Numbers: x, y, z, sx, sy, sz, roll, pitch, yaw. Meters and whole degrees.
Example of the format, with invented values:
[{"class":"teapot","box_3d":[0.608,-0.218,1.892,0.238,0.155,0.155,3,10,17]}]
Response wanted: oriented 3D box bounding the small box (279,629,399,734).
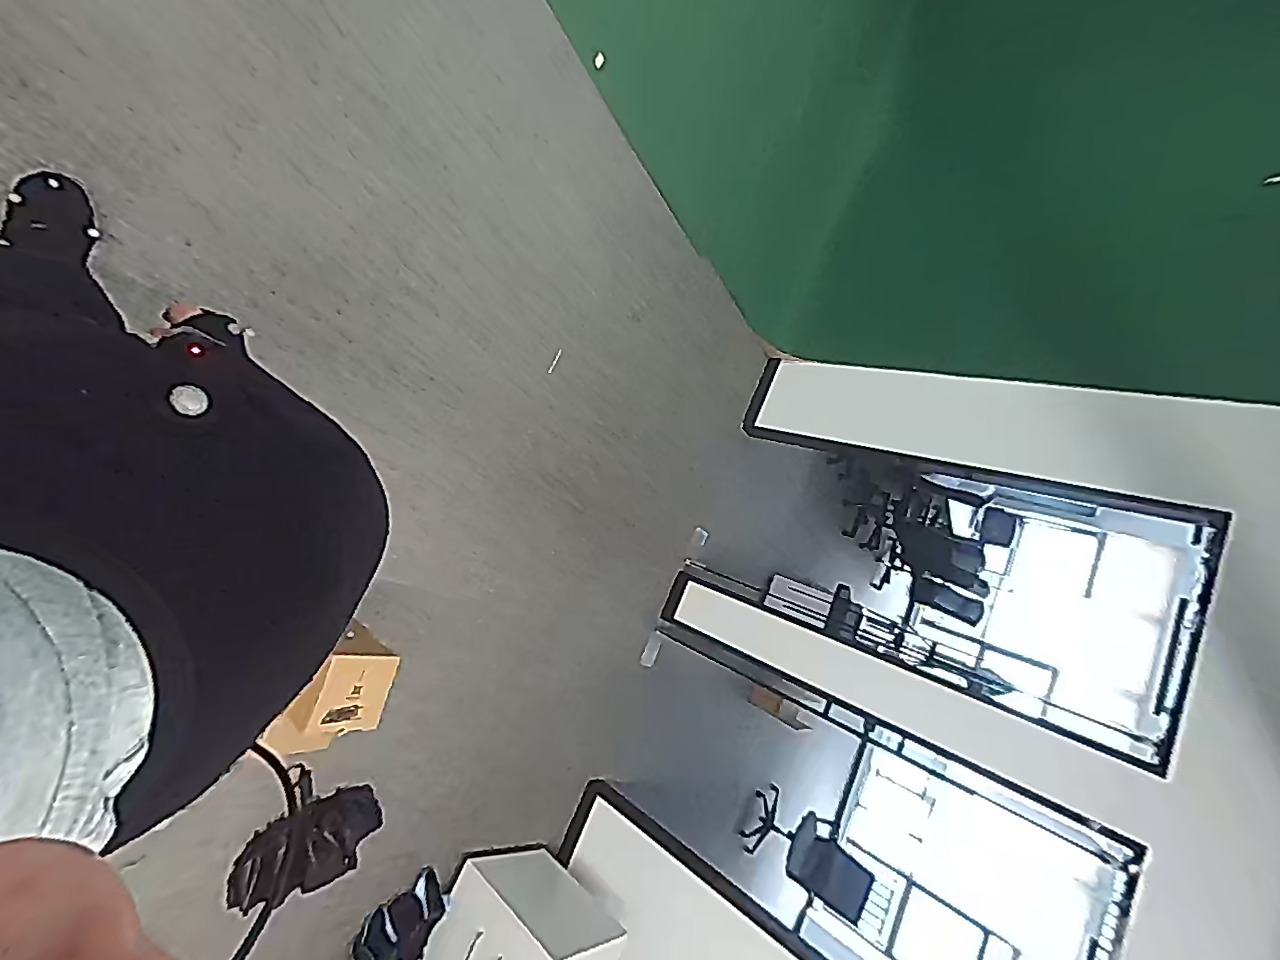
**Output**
[{"class":"small box","box_3d":[-0.704,0.464,1.258,0.168,0.176,0.179,27,77,-52]}]
